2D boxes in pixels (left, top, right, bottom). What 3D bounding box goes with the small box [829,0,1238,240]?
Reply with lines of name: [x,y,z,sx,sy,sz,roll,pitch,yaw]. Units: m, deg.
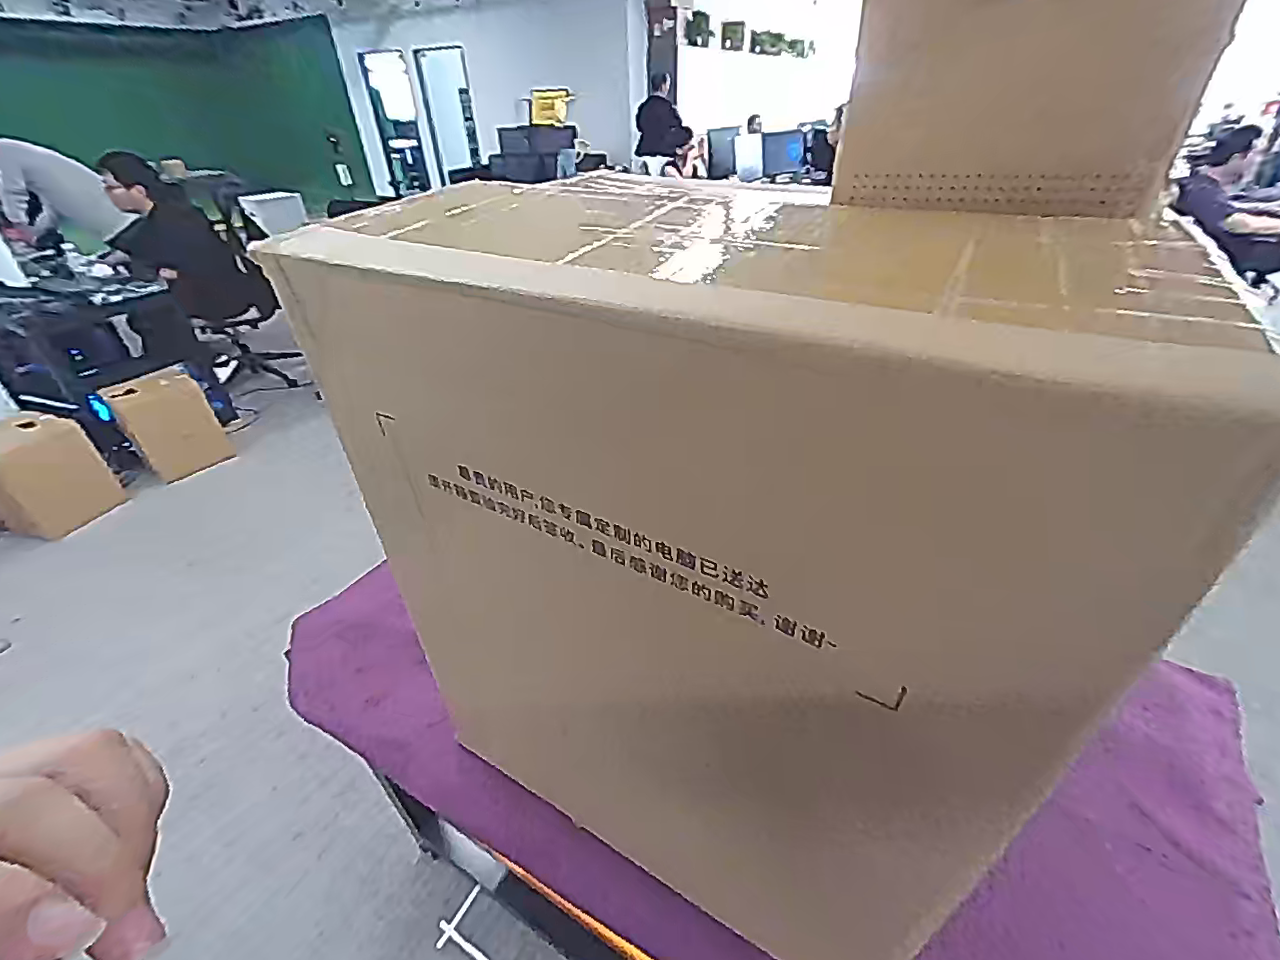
small box: [0.237,-0.261,0.352,0.179,0.176,0.168,13,38,23]
